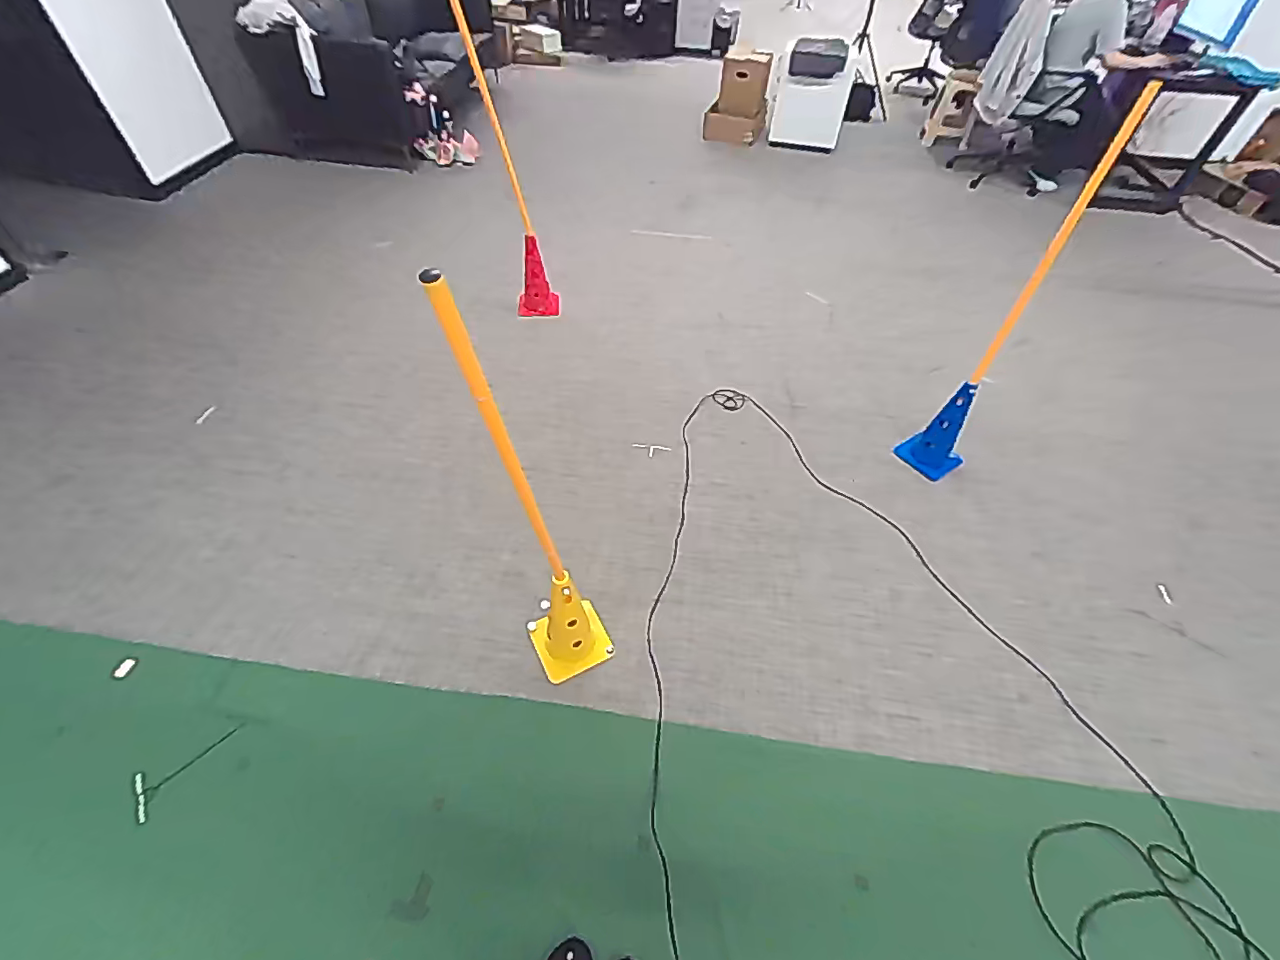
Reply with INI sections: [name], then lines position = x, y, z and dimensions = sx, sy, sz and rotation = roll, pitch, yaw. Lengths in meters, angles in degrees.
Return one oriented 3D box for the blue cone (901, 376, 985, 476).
[blue cone]
position = 1.119, -0.217, 1.943
dimensions = 0.193, 0.380, 0.192
rotation = -28, 55, -25
